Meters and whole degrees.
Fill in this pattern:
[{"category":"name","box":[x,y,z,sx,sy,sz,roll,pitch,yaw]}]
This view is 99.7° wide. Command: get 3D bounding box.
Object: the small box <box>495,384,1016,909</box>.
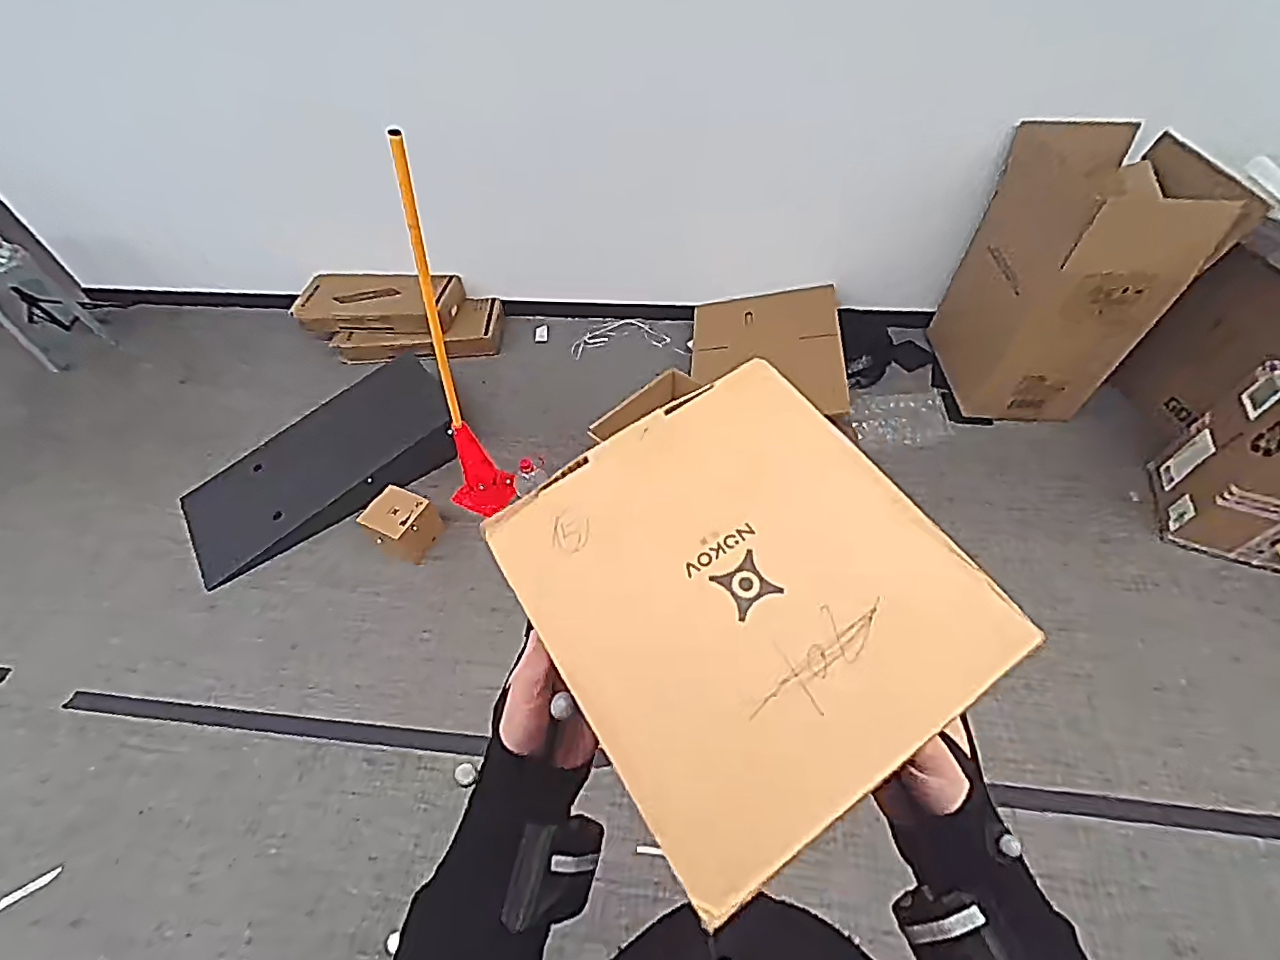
[{"category":"small box","box":[0.046,0.086,0.311,0.168,0.176,0.179,-32,66,-12]}]
